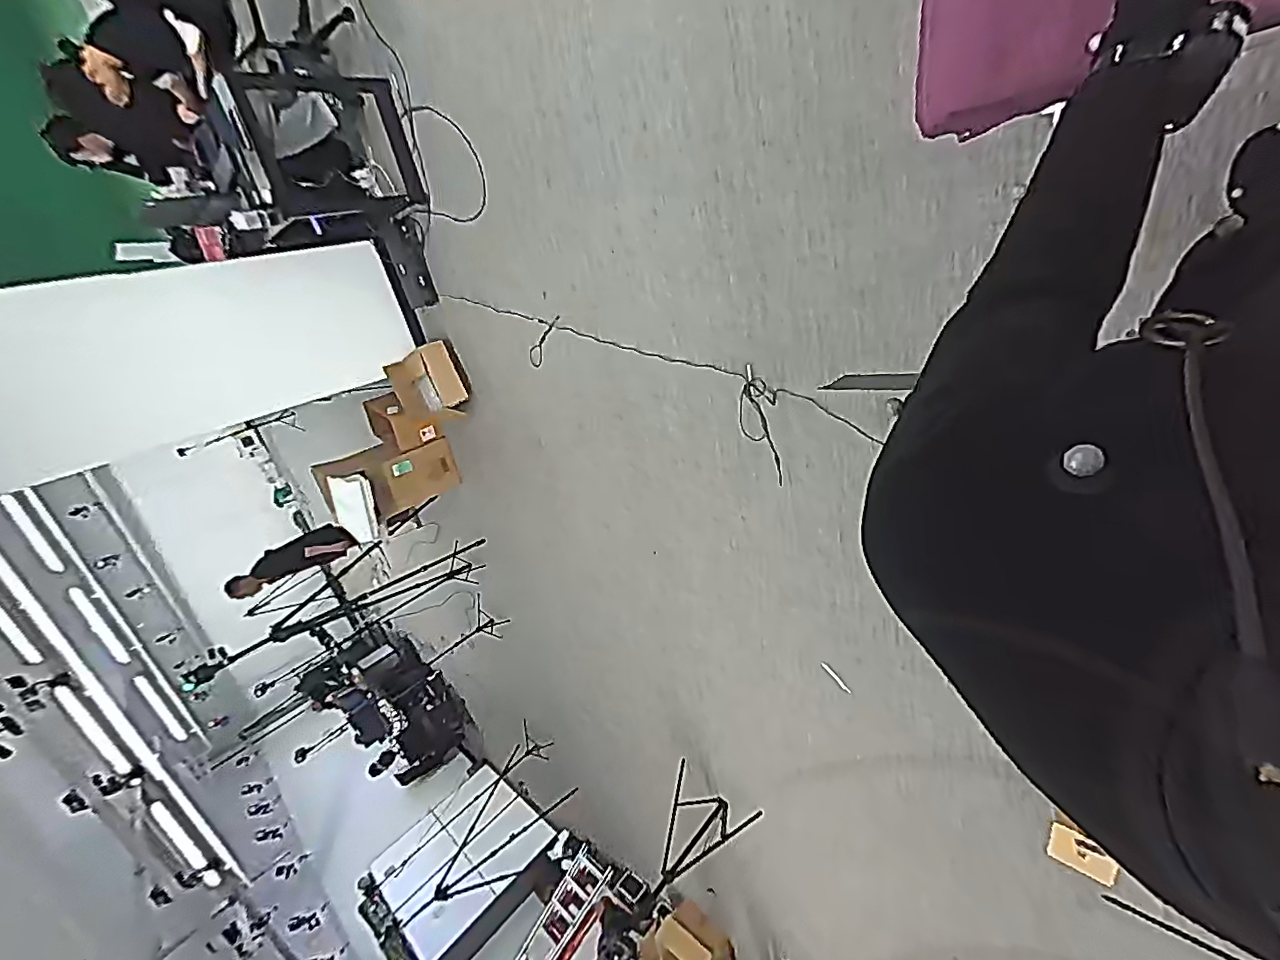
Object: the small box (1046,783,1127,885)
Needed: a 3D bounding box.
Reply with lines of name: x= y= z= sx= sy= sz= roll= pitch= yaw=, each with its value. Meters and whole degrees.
small box: x=1.421 y=1.117 z=1.720 sx=0.168 sy=0.176 sz=0.179 roll=14 pitch=126 yaw=43
